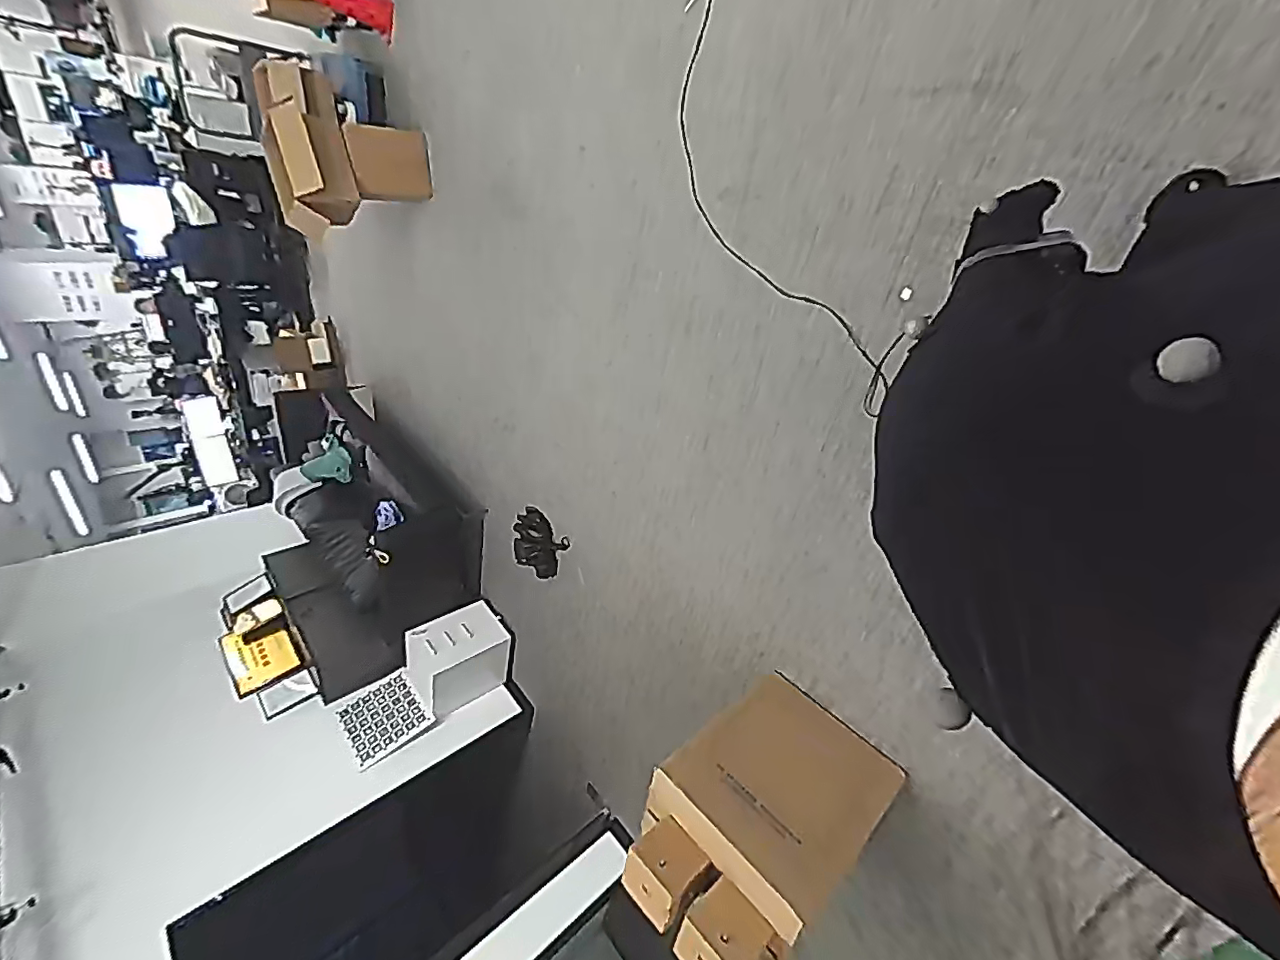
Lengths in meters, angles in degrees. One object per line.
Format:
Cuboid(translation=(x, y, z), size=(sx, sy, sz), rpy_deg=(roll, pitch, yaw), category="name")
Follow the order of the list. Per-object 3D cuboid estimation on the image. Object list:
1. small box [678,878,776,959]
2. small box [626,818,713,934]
Cuboid(translation=(0.232, 1.220, 1.432), size=(0.179, 0.176, 0.168), rpy_deg=(31, 121, 38), category="small box")
Cuboid(translation=(0.087, 1.133, 1.564), size=(0.179, 0.176, 0.168), rpy_deg=(30, 119, 40), category="small box")
